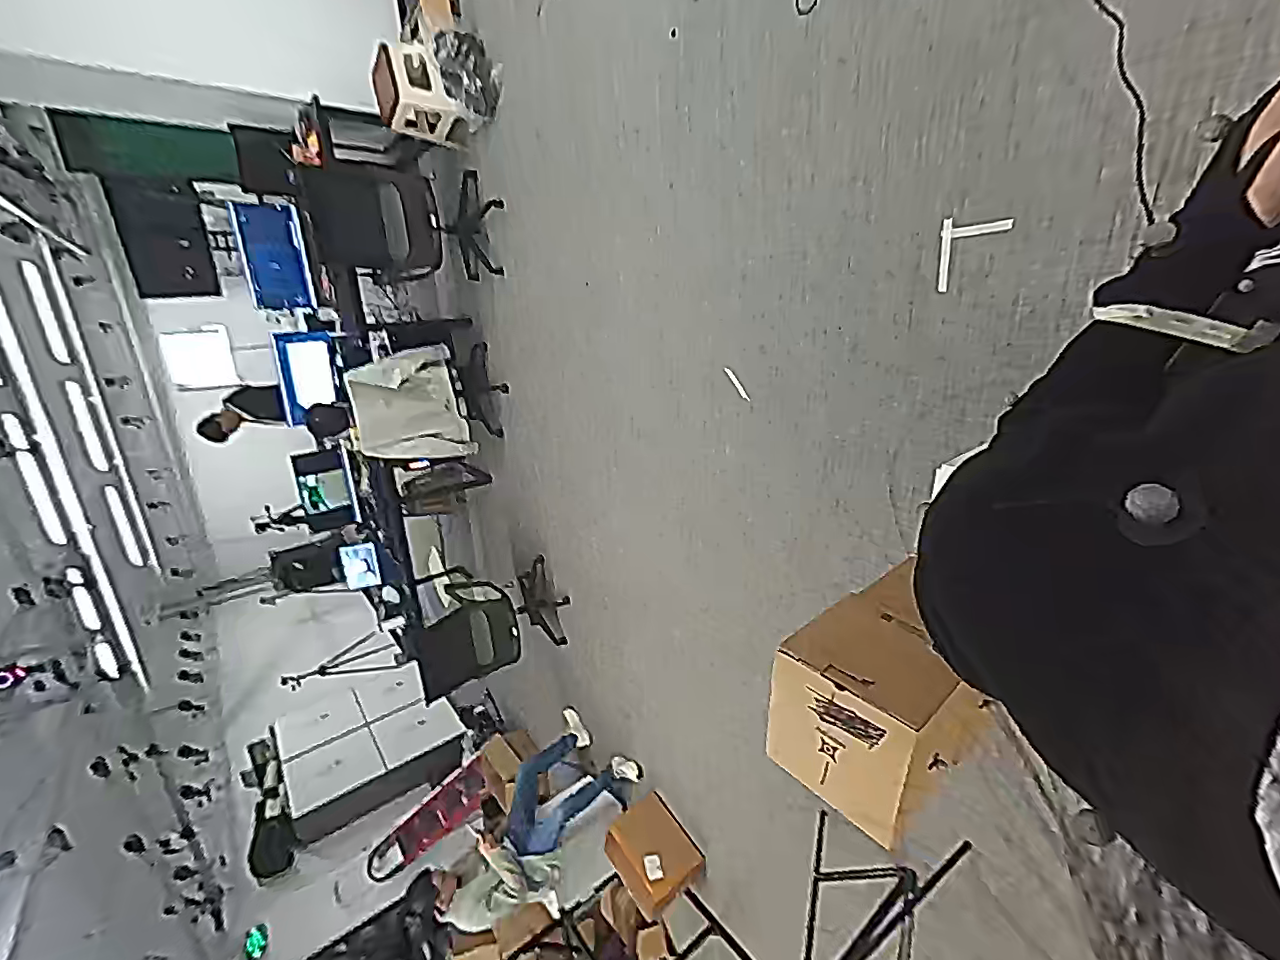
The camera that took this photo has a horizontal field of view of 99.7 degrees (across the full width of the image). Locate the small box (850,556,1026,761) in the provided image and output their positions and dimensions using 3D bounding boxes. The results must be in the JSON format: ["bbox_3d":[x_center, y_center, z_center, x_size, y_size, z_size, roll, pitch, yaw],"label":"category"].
[{"bbox_3d":[0.398,0.231,0.744,0.168,0.176,0.179,22,120,46],"label":"small box"}]

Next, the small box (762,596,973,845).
[{"bbox_3d":[0.270,0.267,0.647,0.168,0.176,0.179,24,124,45],"label":"small box"}]
